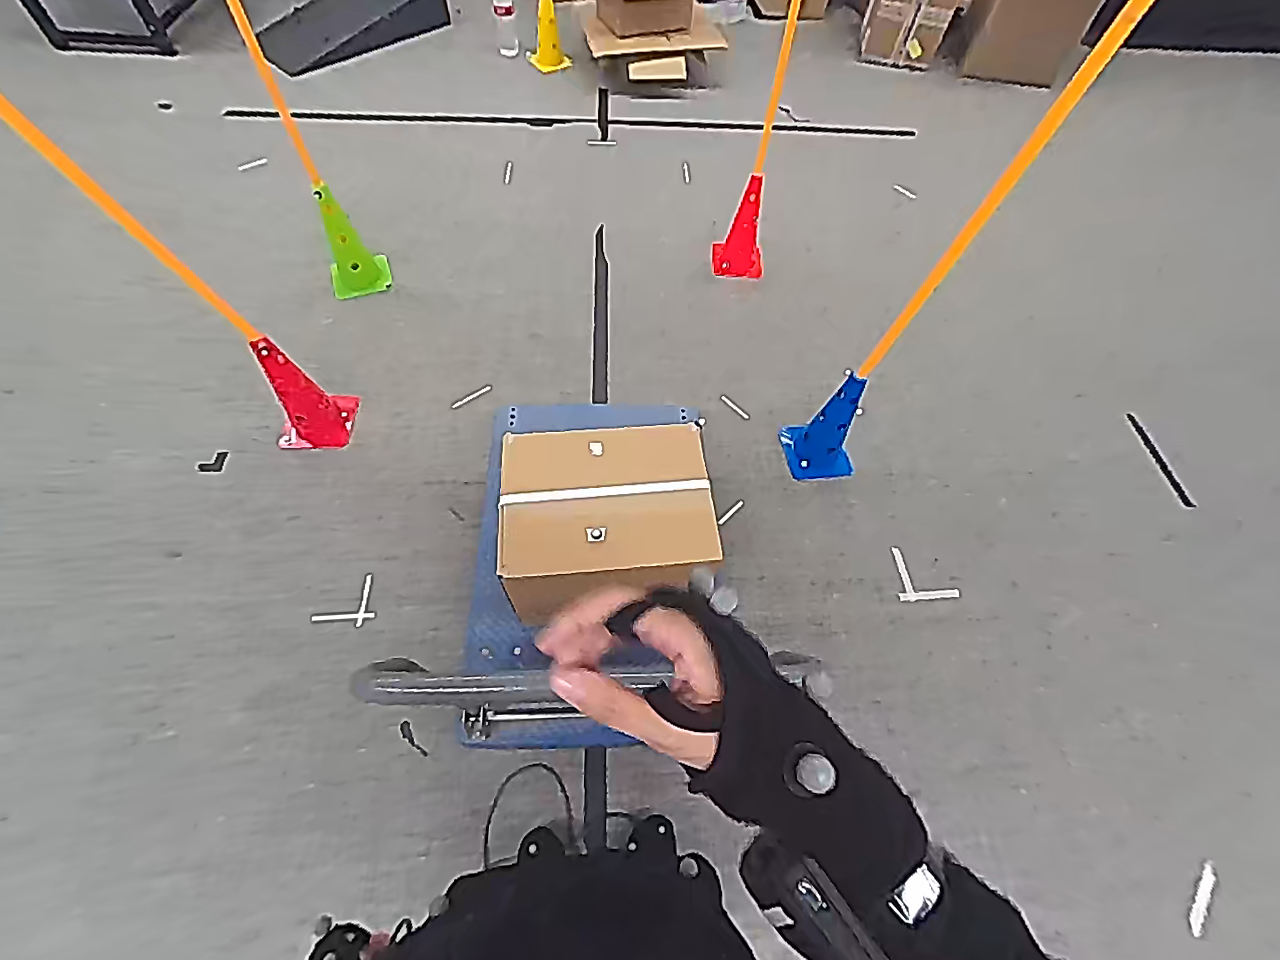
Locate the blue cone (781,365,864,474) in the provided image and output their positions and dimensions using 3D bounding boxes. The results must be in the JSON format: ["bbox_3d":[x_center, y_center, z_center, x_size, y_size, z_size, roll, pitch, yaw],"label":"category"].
[{"bbox_3d":[0.569,-0.186,1.583,0.193,0.380,0.192,-4,59,-6],"label":"blue cone"}]

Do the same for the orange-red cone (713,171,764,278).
[{"bbox_3d":[0.403,-0.969,2.018,0.199,0.360,0.198,6,60,-1],"label":"orange-red cone"}]
